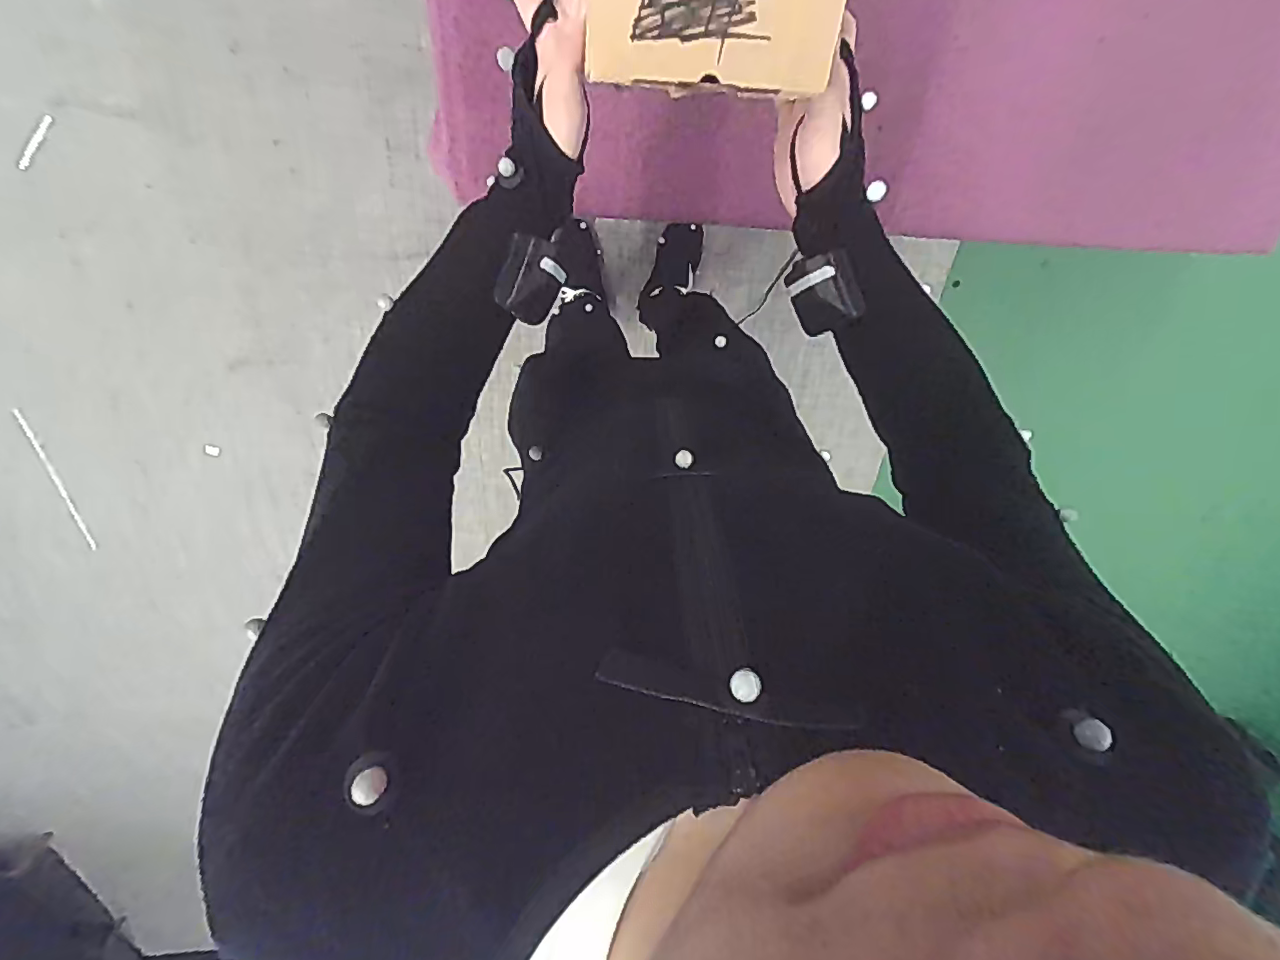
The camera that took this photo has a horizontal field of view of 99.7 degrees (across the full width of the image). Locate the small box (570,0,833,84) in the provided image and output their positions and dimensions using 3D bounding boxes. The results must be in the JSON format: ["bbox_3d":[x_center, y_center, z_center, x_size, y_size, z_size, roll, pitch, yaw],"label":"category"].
[{"bbox_3d":[0.037,-0.386,0.363,0.168,0.176,0.179,0,129,-7],"label":"small box"}]

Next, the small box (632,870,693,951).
[{"bbox_3d":[0.070,1.460,1.838,0.168,0.176,0.179,4,119,-10],"label":"small box"}]
